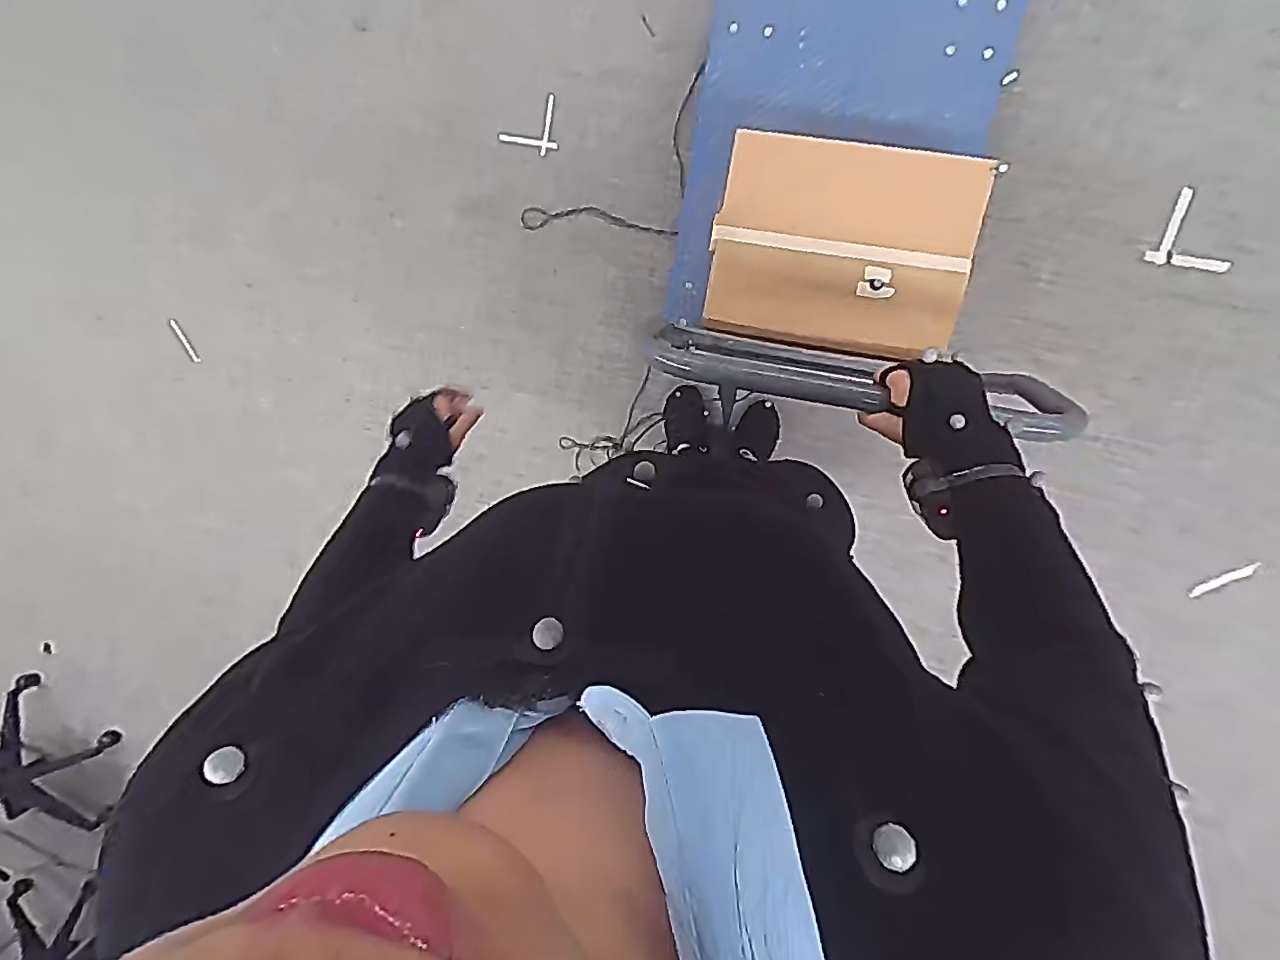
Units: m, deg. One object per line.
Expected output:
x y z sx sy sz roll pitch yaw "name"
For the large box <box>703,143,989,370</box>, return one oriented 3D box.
0.340 -0.393 1.028 0.408 0.320 0.320 11 104 5 "large box"
